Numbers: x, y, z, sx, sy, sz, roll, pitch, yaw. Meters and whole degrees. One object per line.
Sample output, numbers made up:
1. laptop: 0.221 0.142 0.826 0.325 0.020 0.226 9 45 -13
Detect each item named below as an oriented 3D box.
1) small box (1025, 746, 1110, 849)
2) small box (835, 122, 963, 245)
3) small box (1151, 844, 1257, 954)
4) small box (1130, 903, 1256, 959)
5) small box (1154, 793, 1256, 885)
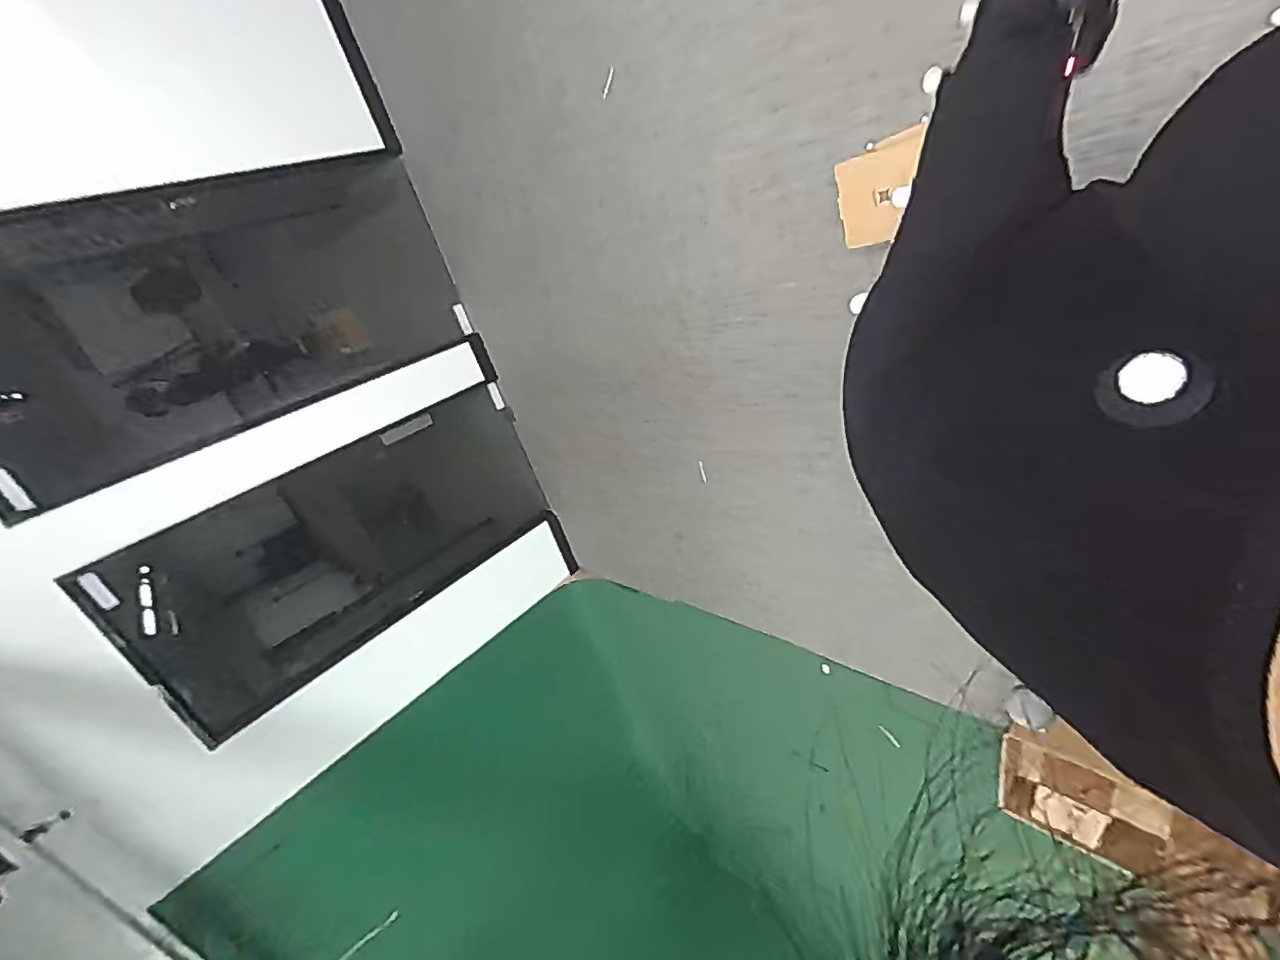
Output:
1. small box: 1.312 0.967 1.660 0.168 0.176 0.179 16 130 42
2. small box: 0.523 -0.594 1.089 0.179 0.176 0.168 7 125 47
3. small box: 1.394 1.061 1.342 0.168 0.176 0.179 12 128 47
4. small box: 1.279 1.131 1.251 0.168 0.176 0.179 32 141 31
5. small box: 1.506 0.992 1.442 0.168 0.176 0.179 10 125 47
